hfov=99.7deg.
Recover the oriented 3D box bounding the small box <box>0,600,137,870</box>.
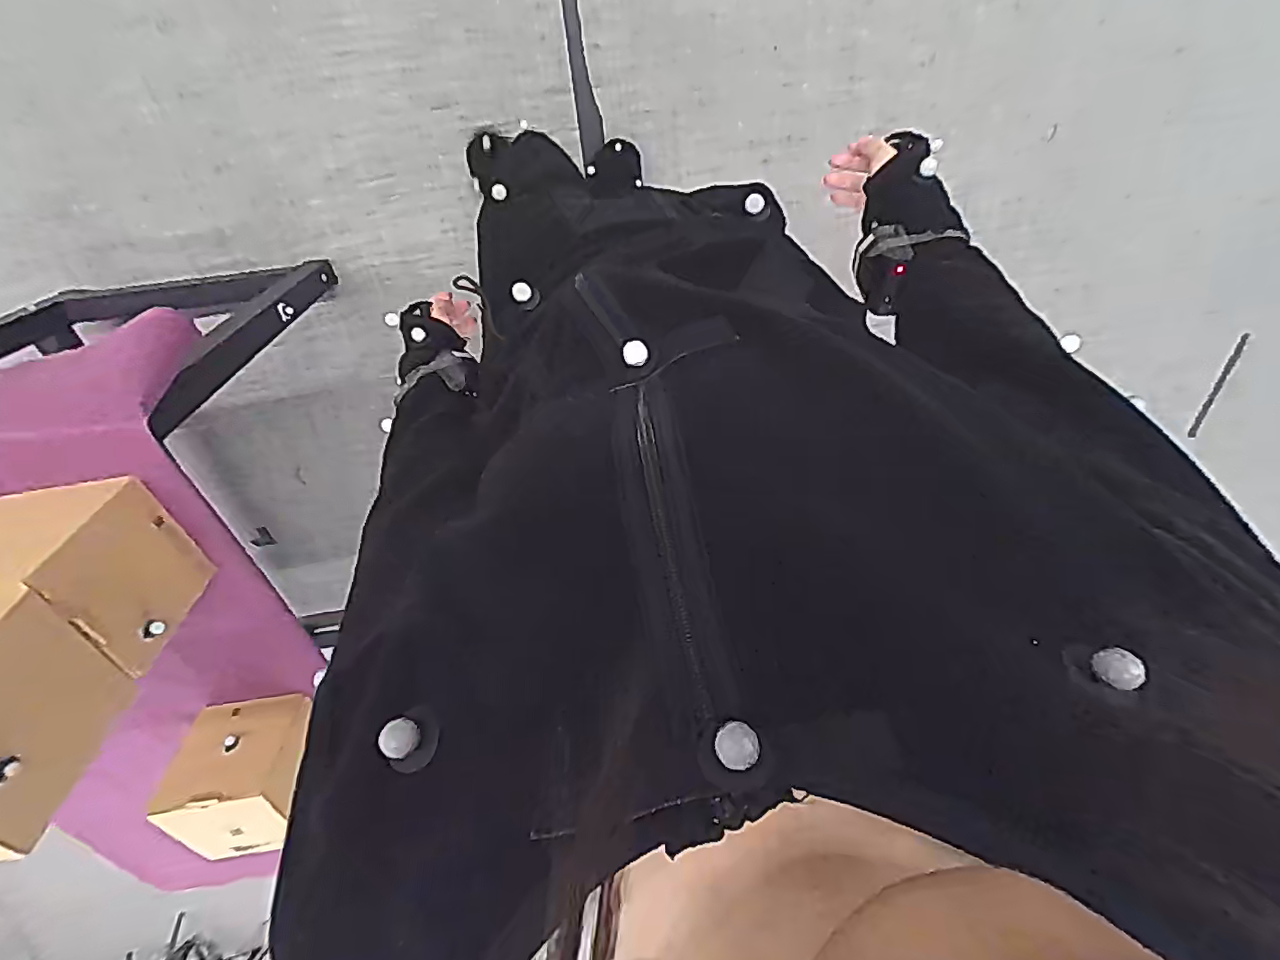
[{"bbox_3d":[-0.628,0.233,0.488,0.168,0.176,0.179,-6,127,-4],"label":"small box"}]

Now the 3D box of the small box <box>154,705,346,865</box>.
[{"bbox_3d":[-0.616,0.487,0.884,0.168,0.176,0.179,-8,126,-3],"label":"small box"}]
